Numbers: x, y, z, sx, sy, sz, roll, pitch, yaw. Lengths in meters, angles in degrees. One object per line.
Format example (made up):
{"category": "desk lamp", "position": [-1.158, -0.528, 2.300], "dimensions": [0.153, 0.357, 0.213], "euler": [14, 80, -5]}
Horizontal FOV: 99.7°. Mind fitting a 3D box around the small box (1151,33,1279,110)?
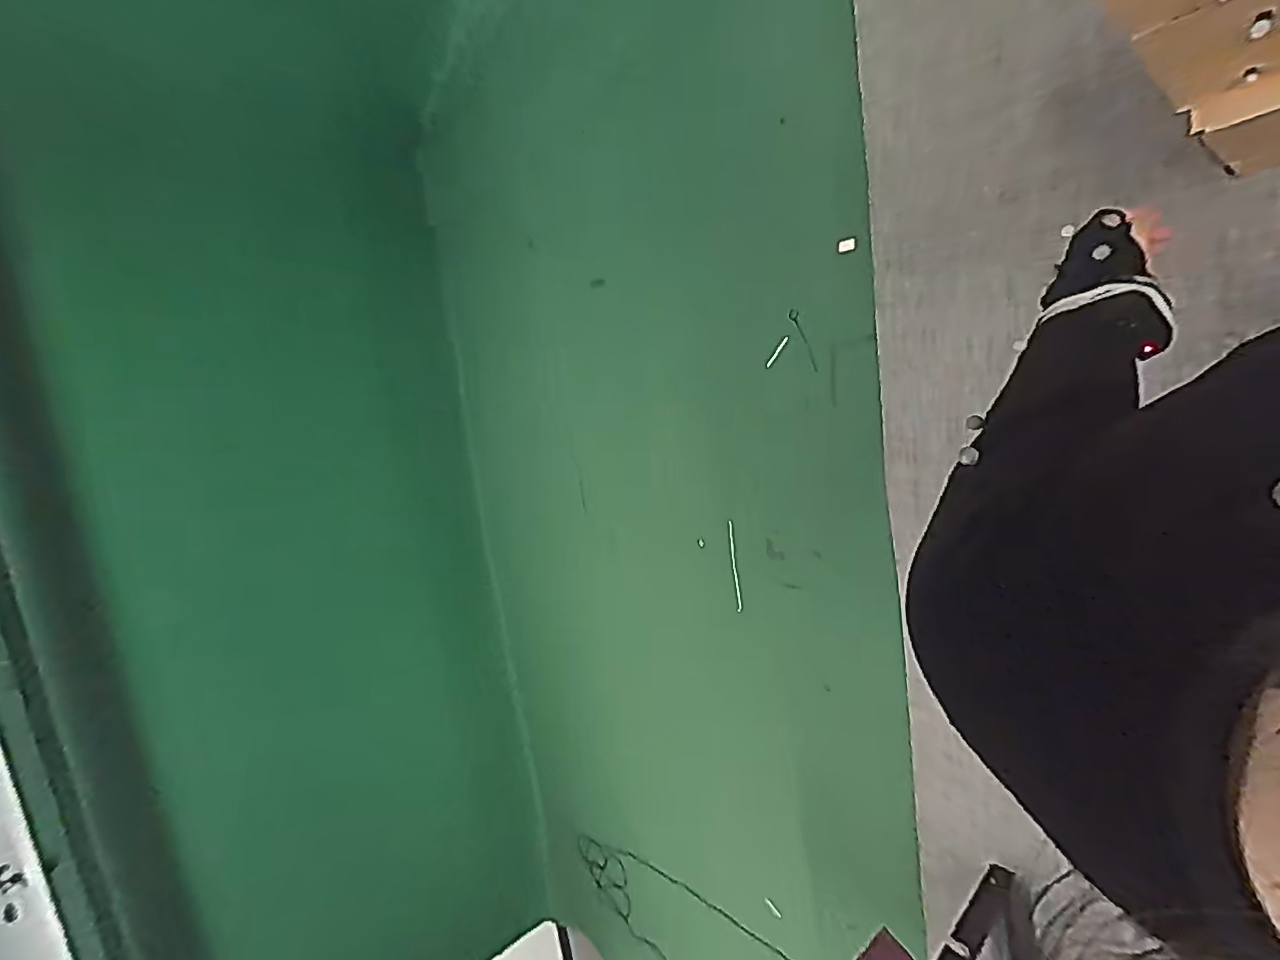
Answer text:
{"category": "small box", "position": [0.686, -0.550, 0.594], "dimensions": [0.168, 0.176, 0.179], "euler": [2, 104, 50]}
